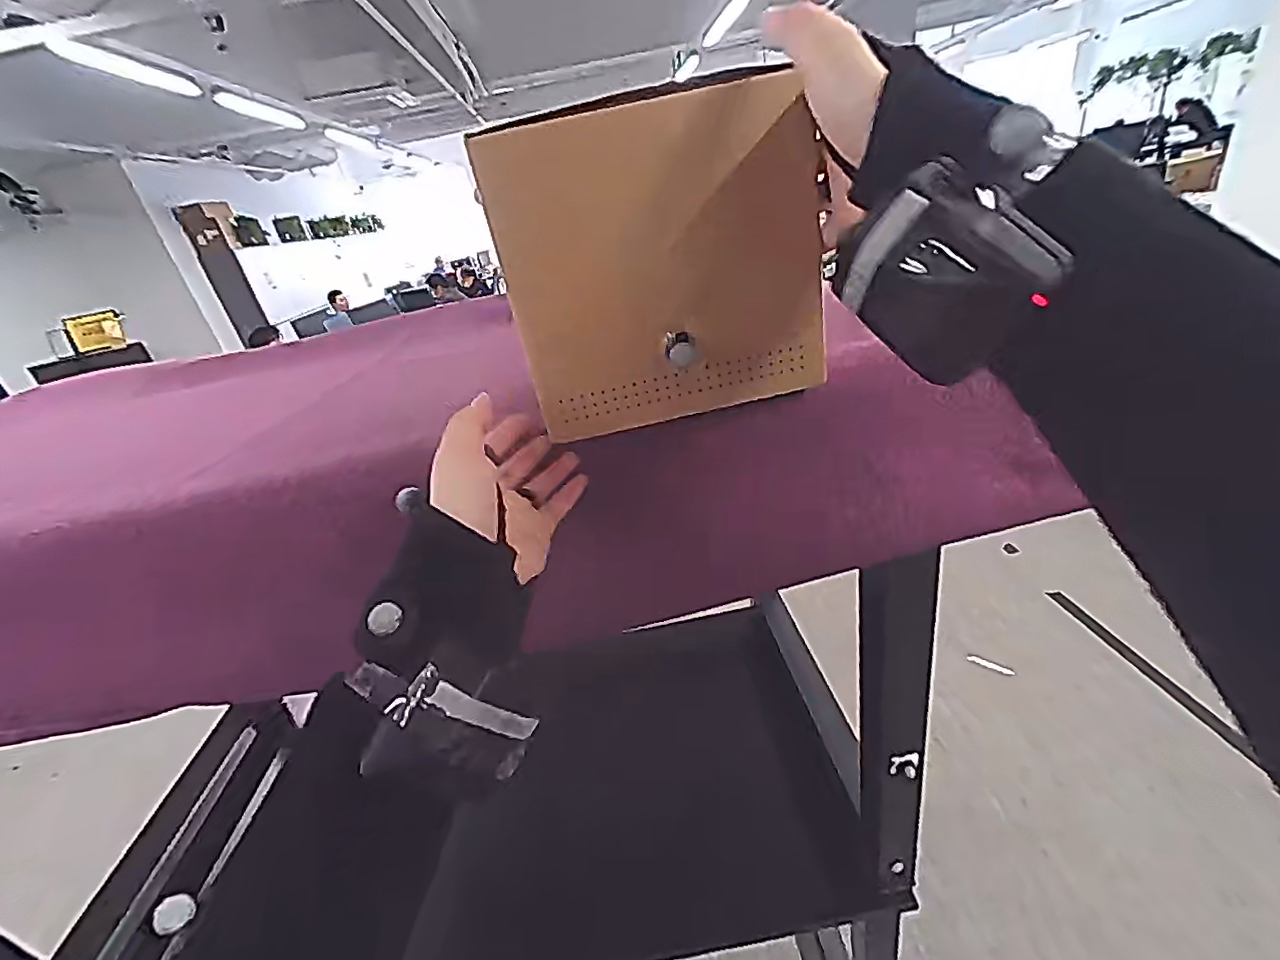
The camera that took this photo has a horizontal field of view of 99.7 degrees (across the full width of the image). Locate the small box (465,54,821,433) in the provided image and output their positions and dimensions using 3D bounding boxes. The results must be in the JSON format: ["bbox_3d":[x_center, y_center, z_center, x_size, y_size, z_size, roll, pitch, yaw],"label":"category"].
[{"bbox_3d":[0.006,-0.148,0.363,0.179,0.176,0.168,-13,26,-2],"label":"small box"}]
